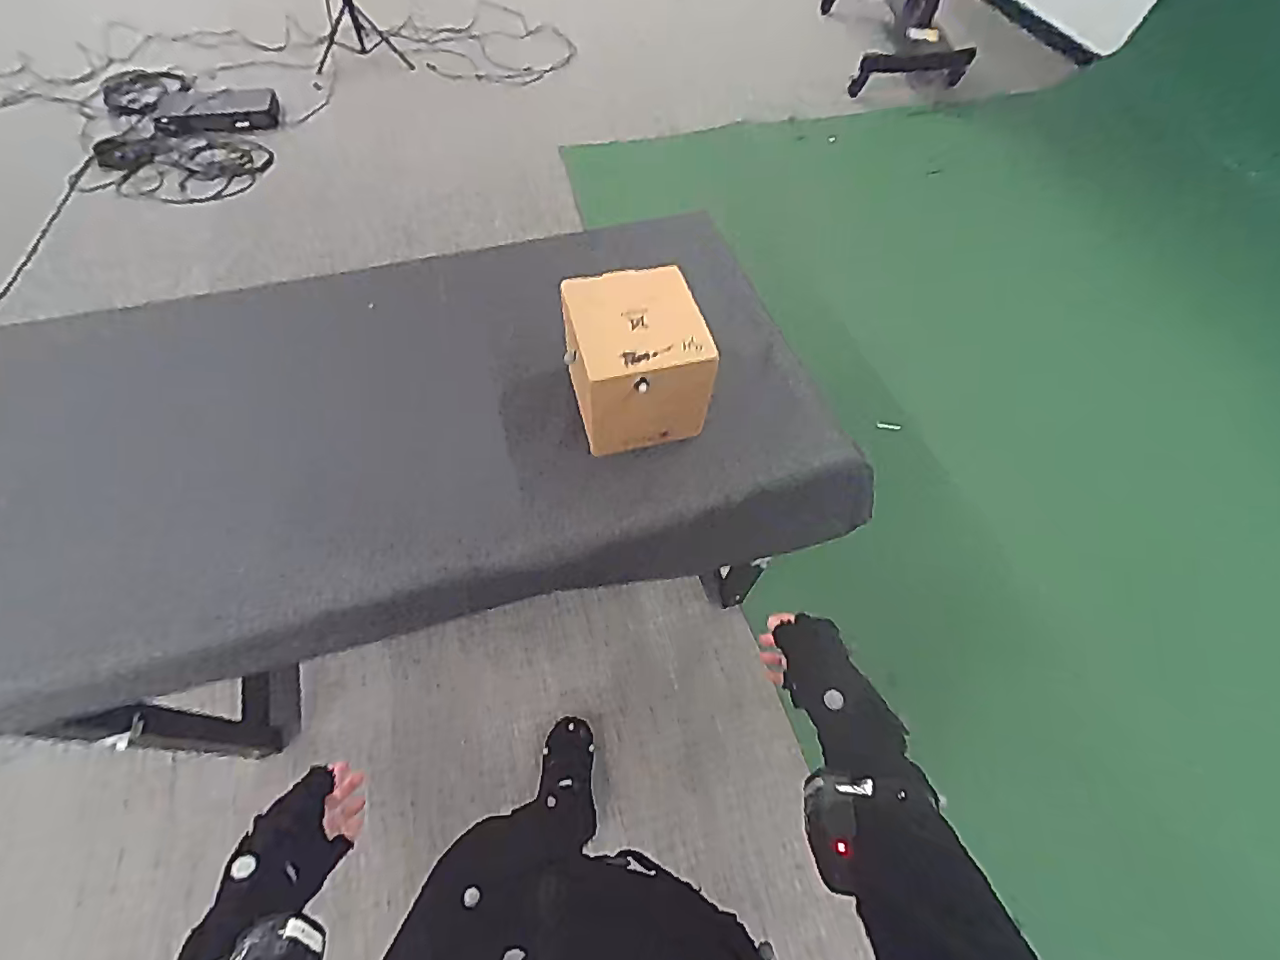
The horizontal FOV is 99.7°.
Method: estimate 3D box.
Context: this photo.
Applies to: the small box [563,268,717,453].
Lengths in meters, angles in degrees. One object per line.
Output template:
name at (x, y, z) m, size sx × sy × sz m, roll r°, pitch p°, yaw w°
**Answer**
small box at (-0.008, -0.165, 0.761) m, size 0.168 × 0.176 × 0.179 m, roll -13°, pitch 61°, yaw -9°
